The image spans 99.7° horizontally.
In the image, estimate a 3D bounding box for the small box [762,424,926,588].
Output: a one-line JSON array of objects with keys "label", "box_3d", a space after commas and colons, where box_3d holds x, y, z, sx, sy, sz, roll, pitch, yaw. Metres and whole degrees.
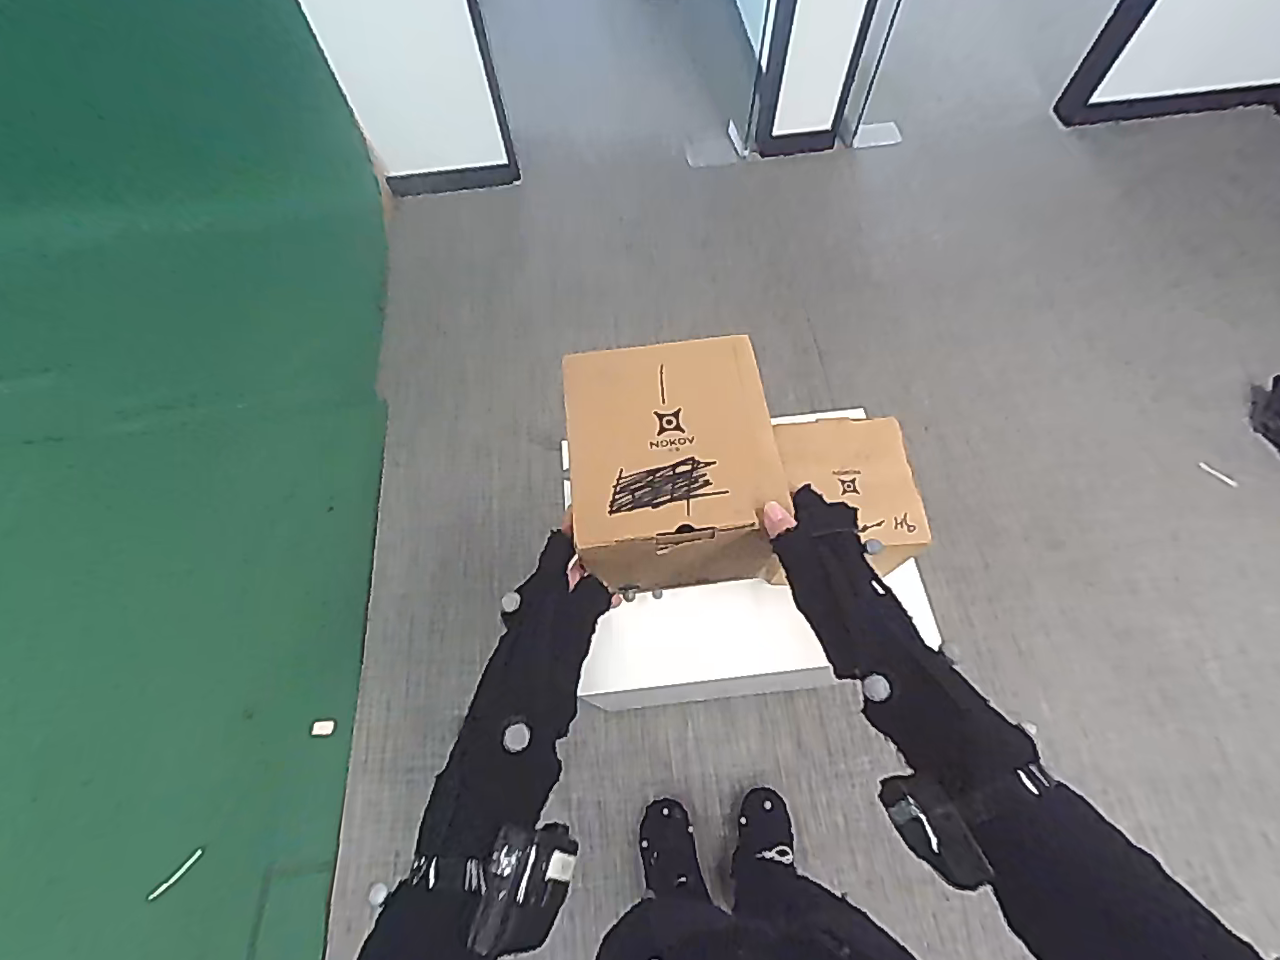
[{"label": "small box", "box_3d": [0.259, 0.041, 0.751, 0.168, 0.176, 0.179, -3, 64, 1]}]

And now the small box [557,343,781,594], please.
[{"label": "small box", "box_3d": [0.022, 0.002, 0.508, 0.168, 0.176, 0.179, -7, 64, 0]}]
